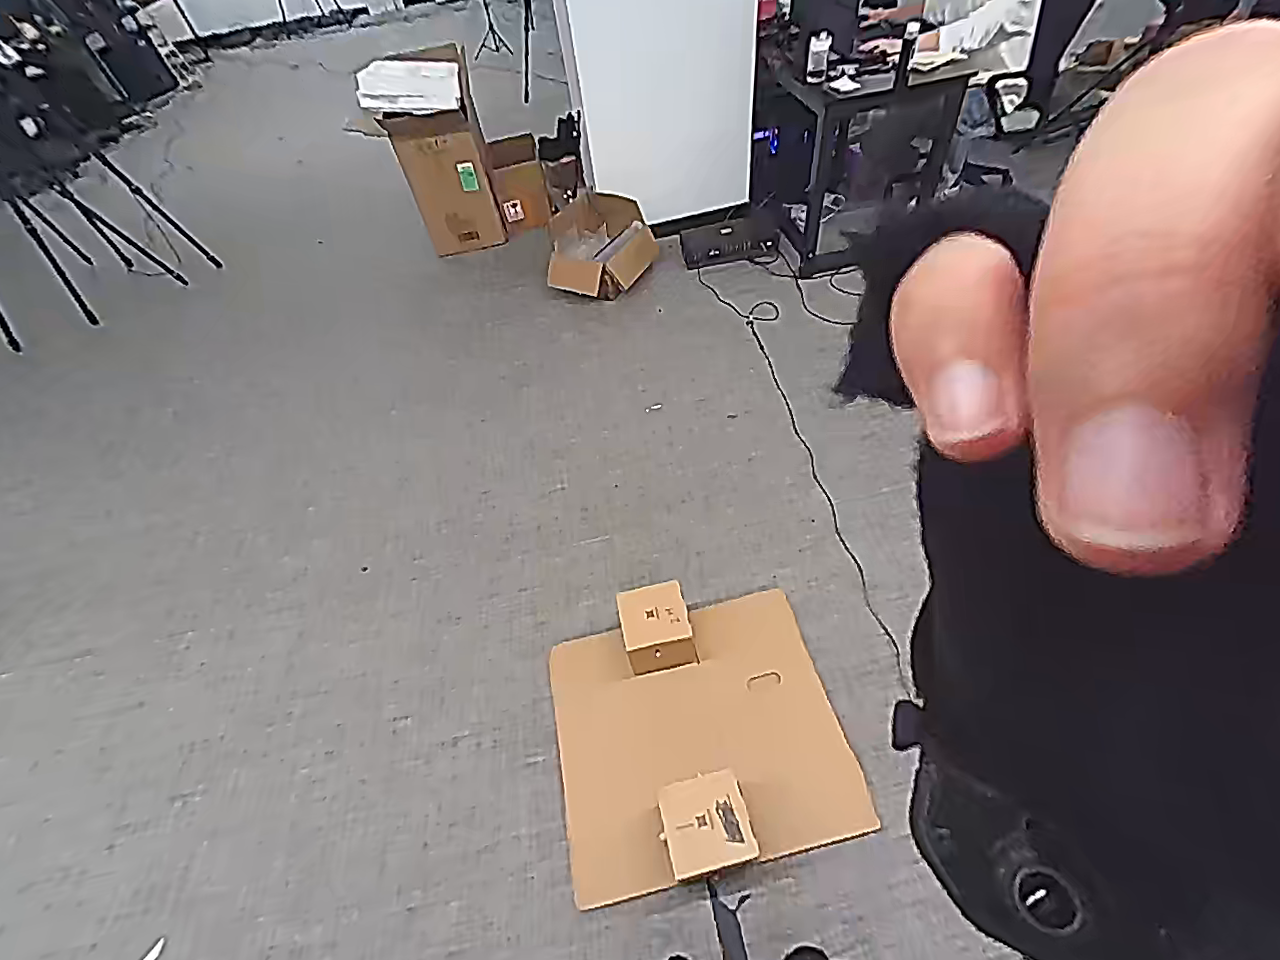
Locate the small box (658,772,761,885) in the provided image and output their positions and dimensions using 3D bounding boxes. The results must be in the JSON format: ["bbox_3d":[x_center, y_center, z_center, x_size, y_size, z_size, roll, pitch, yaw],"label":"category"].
[{"bbox_3d":[0.145,0.752,1.166,0.179,0.176,0.168,-14,51,-3],"label":"small box"}]

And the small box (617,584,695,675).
[{"bbox_3d":[0.045,0.409,1.459,0.179,0.176,0.168,-12,50,-3],"label":"small box"}]
